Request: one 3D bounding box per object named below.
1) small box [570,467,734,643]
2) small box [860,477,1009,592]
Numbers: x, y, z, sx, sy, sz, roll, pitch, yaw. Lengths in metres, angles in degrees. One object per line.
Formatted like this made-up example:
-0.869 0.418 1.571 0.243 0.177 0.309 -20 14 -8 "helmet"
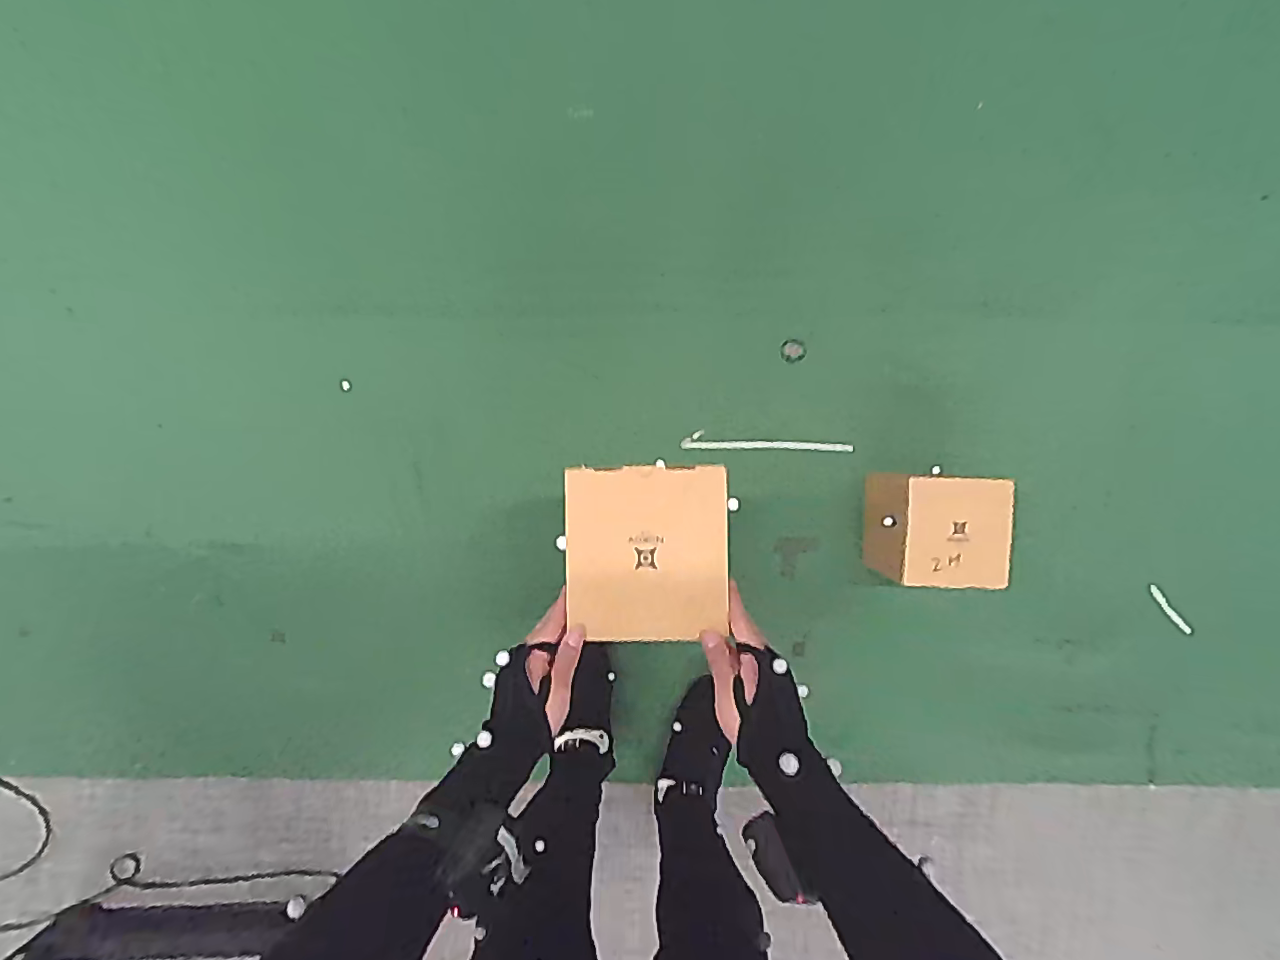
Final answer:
0.017 0.077 0.616 0.168 0.176 0.179 -1 87 3 "small box"
0.497 0.086 0.934 0.168 0.176 0.179 2 93 0 "small box"
